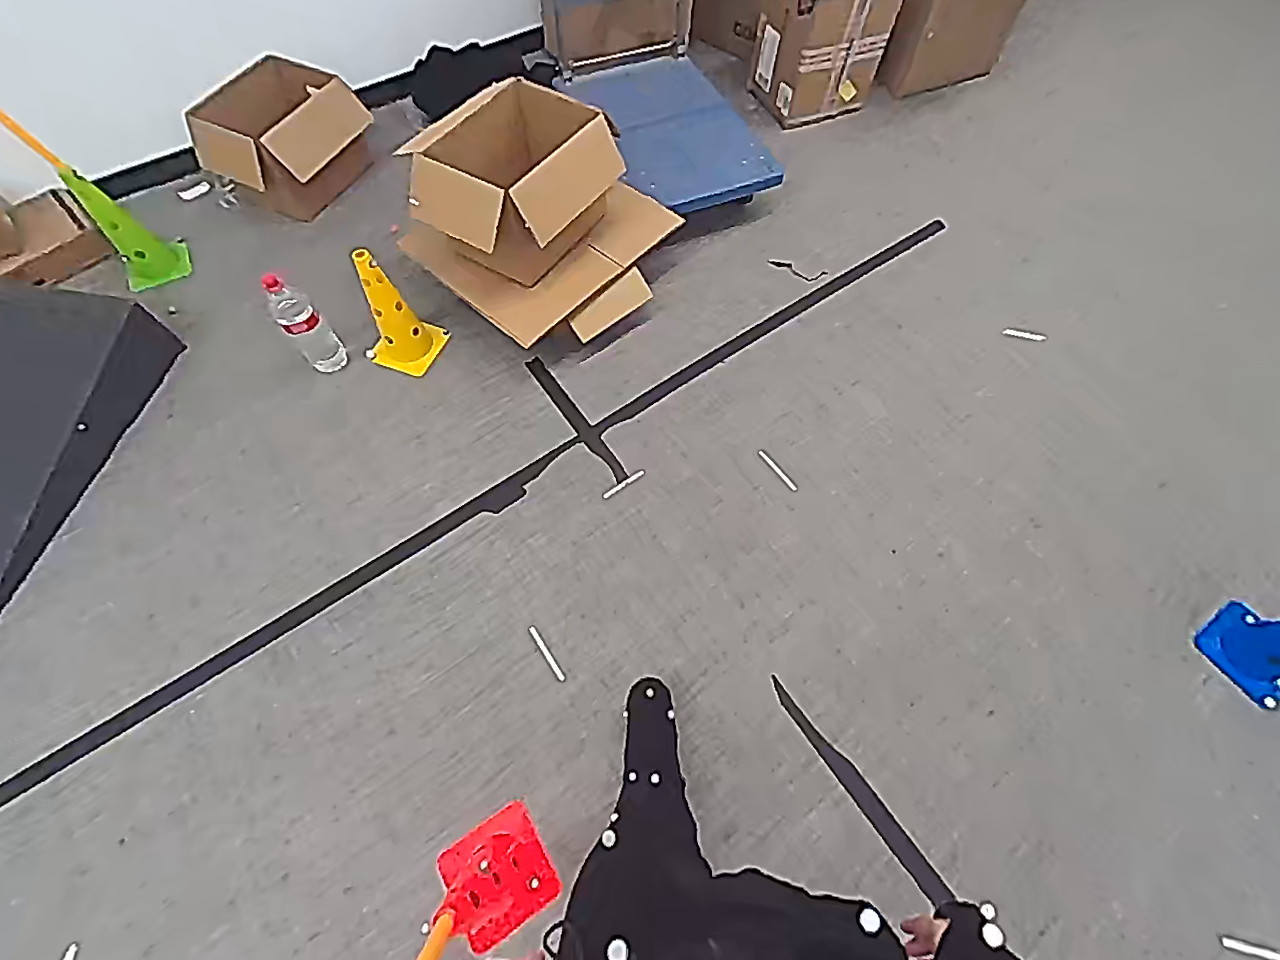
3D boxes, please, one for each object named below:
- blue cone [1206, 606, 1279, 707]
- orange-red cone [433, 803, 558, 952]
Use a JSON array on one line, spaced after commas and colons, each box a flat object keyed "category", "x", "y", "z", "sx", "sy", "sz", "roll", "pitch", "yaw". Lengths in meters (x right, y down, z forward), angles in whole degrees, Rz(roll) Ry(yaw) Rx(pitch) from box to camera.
[{"category": "blue cone", "x": 1.507, "y": 0.350, "z": 1.172, "sx": 0.193, "sy": 0.380, "sz": 0.192, "roll": -29, "pitch": 68, "yaw": -14}, {"category": "orange-red cone", "x": -0.288, "y": 0.723, "z": 0.945, "sx": 0.198, "sy": 0.360, "sz": 0.199, "roll": -29, "pitch": 66, "yaw": -14}]
